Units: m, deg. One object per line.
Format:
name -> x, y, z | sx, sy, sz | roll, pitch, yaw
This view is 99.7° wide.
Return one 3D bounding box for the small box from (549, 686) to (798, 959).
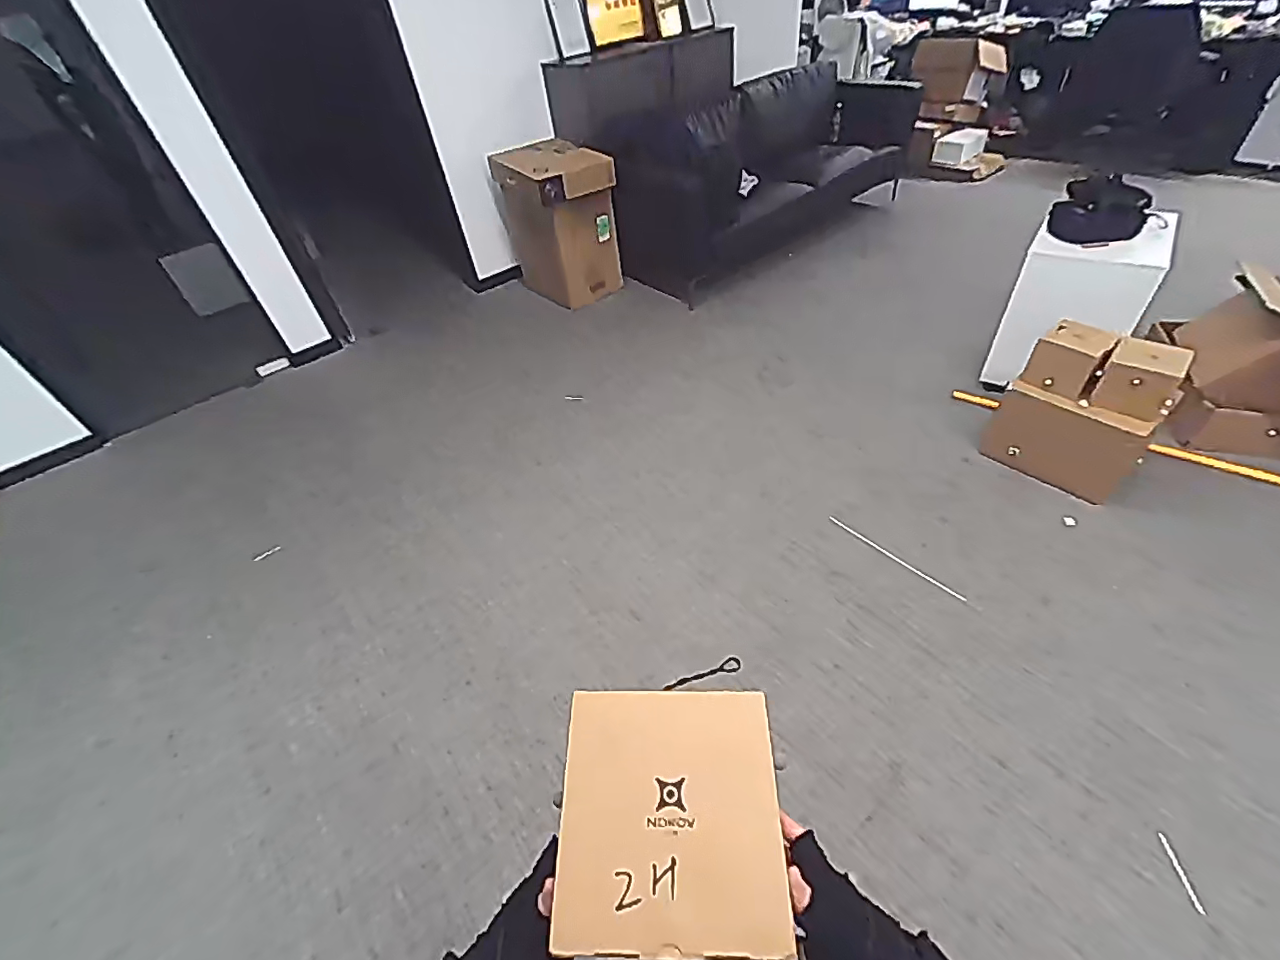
small box -> 0.027, 0.296, 0.465 | 0.168, 0.176, 0.179 | -1, 50, 4
